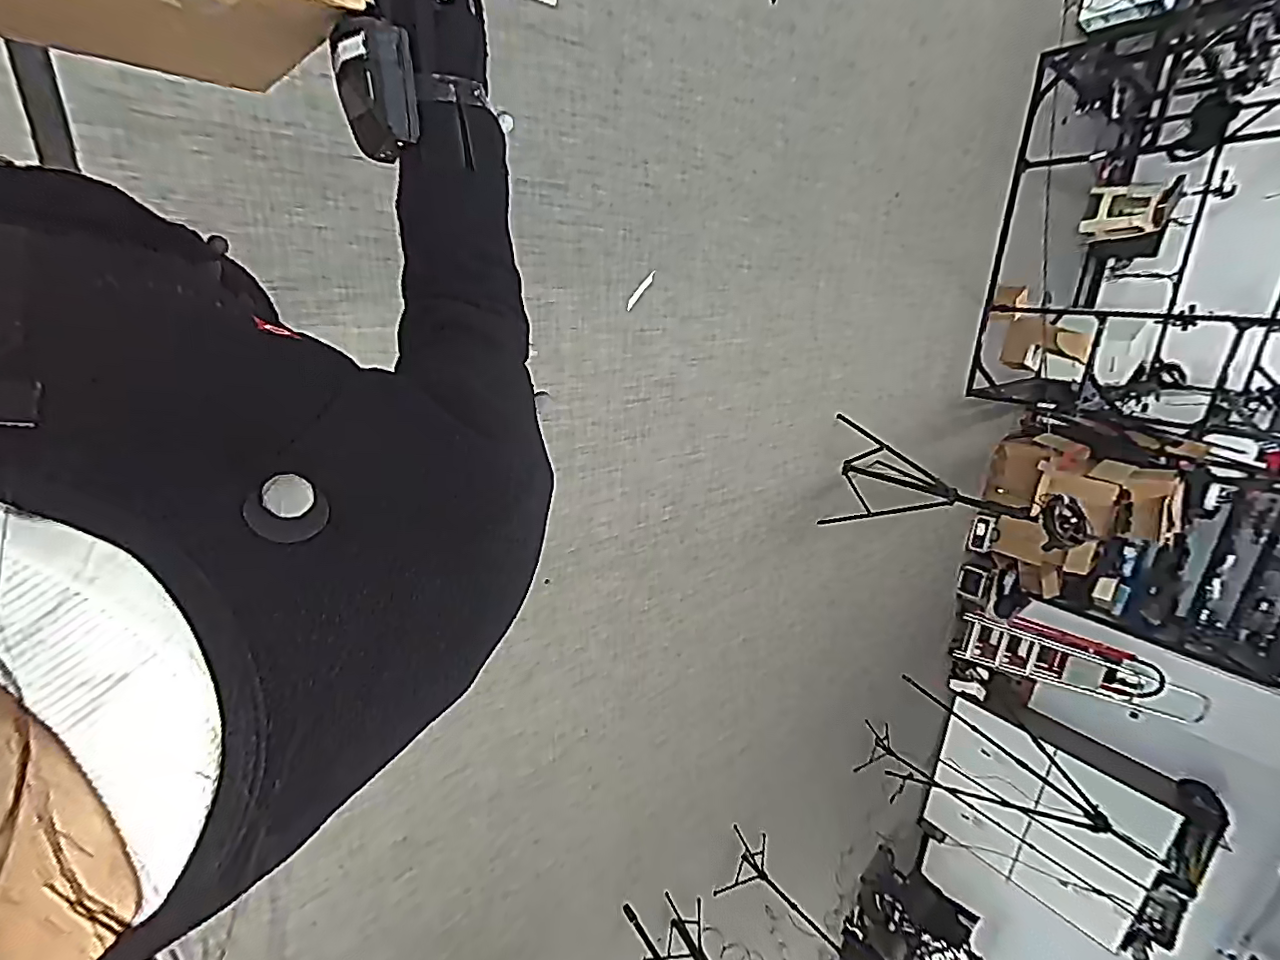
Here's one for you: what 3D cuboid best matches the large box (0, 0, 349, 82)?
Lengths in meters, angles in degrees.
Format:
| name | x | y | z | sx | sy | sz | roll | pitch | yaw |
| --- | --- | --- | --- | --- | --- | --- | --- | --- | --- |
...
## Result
| name | x | y | z | sx | sy | sz | roll | pitch | yaw |
| --- | --- | --- | --- | --- | --- | --- | --- | --- | --- |
| large box | -0.402 | -0.422 | 0.231 | 0.408 | 0.320 | 0.320 | -16 | 121 | -40 |
